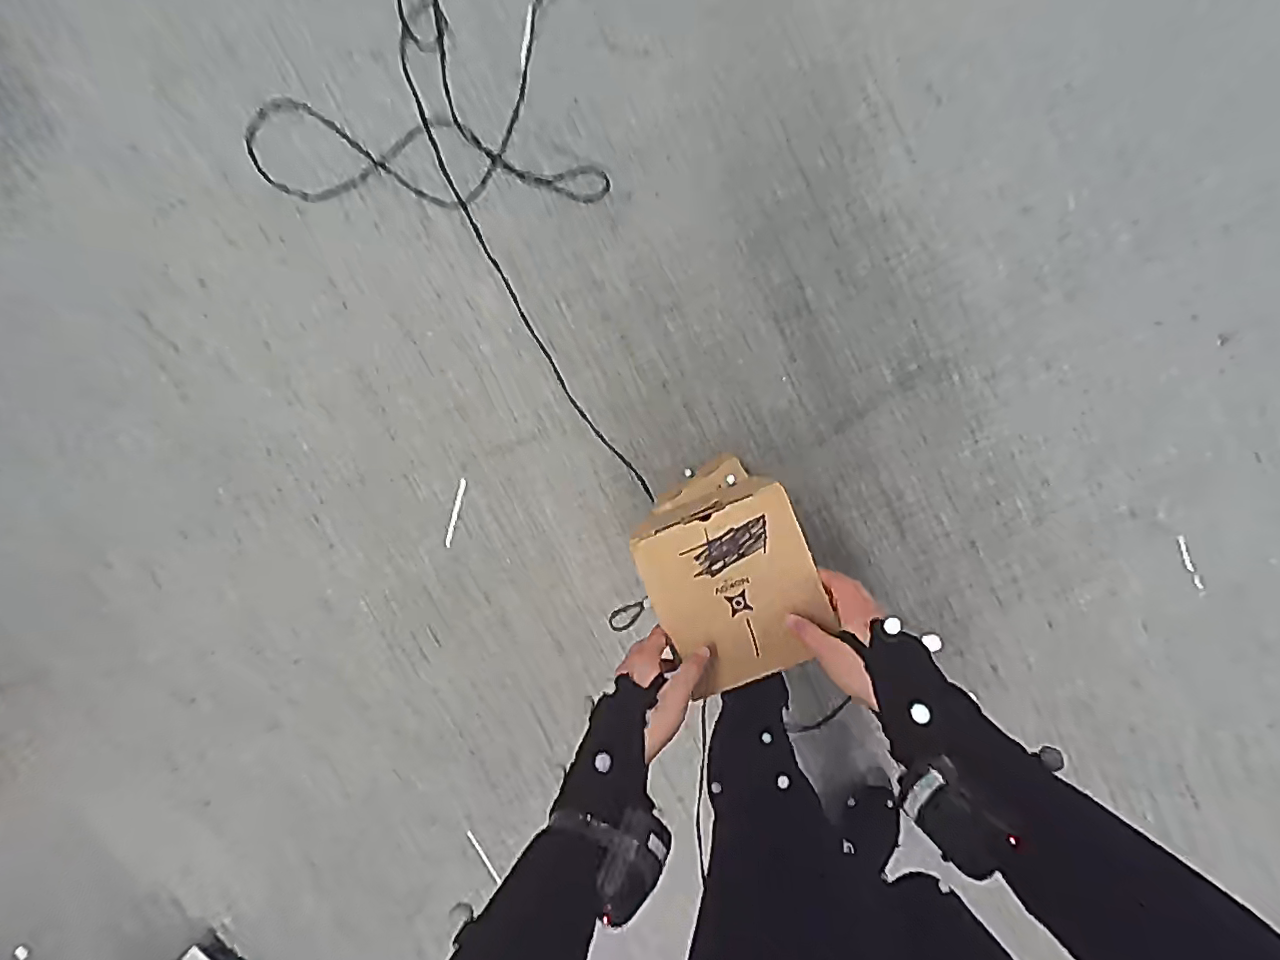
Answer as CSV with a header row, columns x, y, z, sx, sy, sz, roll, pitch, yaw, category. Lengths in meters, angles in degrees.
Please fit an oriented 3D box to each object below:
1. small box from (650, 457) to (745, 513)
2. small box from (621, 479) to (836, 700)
x,y,z,sx,sy,sz,roll,pitch,yaw,category
0.136,0.072,0.974,0.168,0.176,0.179,-34,92,6,small box
0.089,0.105,0.604,0.168,0.176,0.179,-22,92,5,small box
